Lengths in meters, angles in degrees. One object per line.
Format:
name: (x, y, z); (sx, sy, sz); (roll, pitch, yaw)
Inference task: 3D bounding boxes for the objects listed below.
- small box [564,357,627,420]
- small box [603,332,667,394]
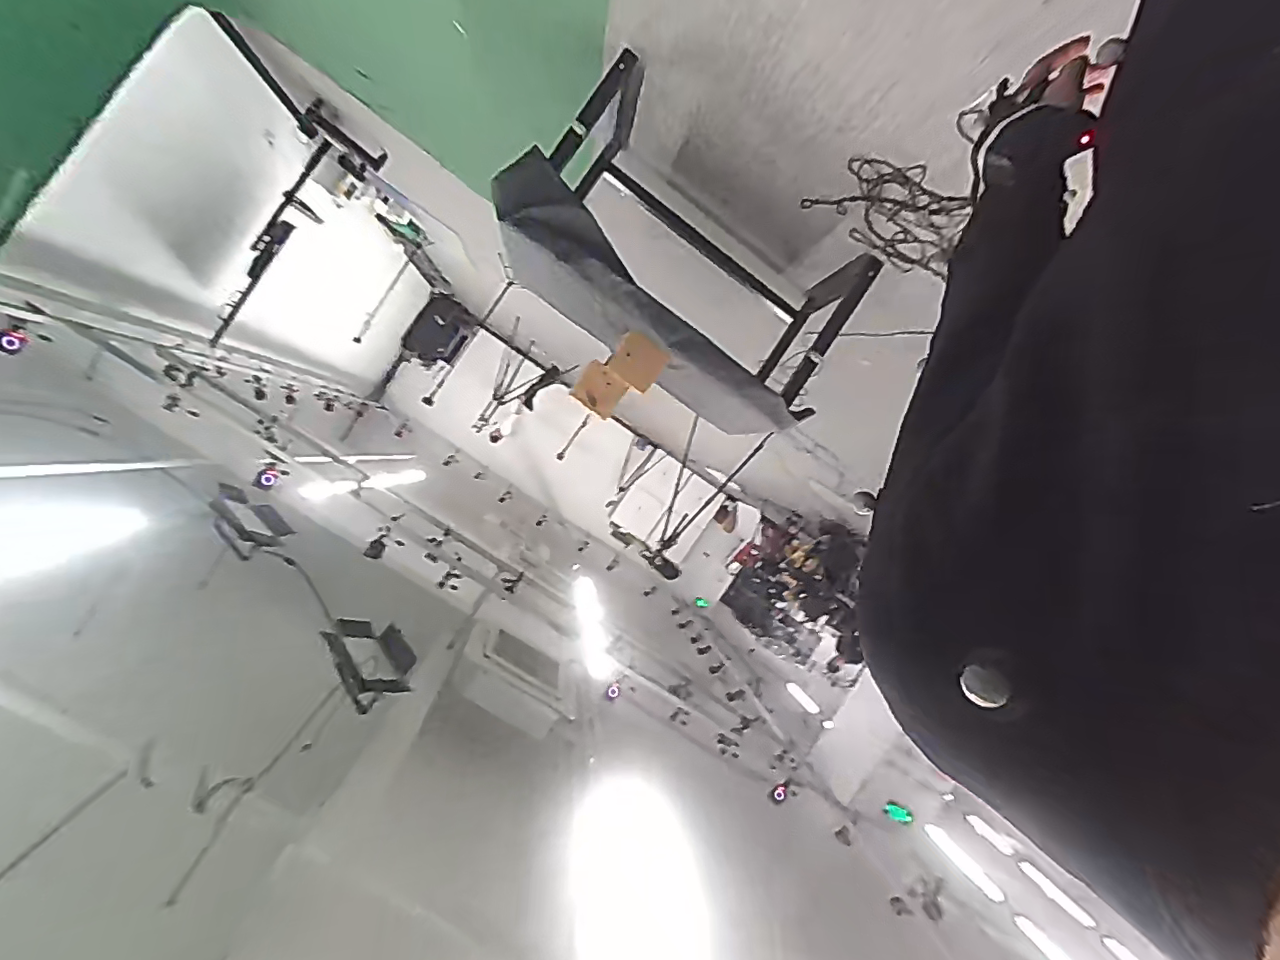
small box: (-0.170, -0.349, 2.062); (0.168, 0.176, 0.179); (36, 178, -15)
small box: (-0.029, -0.447, 2.054); (0.179, 0.176, 0.168); (35, 179, -16)
